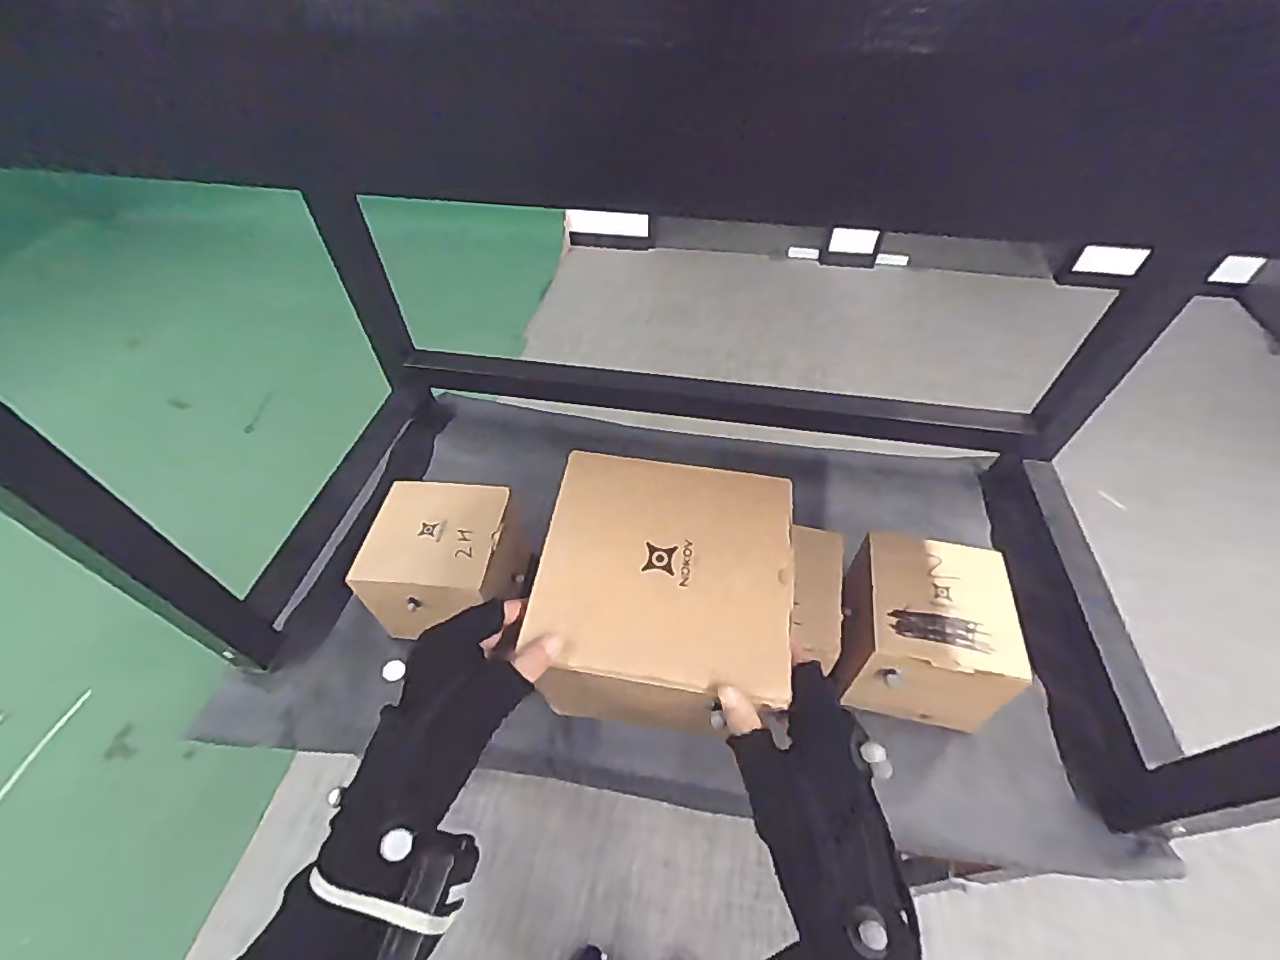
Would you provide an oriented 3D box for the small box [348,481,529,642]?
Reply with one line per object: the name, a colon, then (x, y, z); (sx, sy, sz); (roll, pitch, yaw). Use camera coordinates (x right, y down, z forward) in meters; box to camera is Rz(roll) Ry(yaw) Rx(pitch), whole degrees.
small box: (-0.274, 0.121, 0.785); (0.179, 0.176, 0.168); (4, 50, 4)
